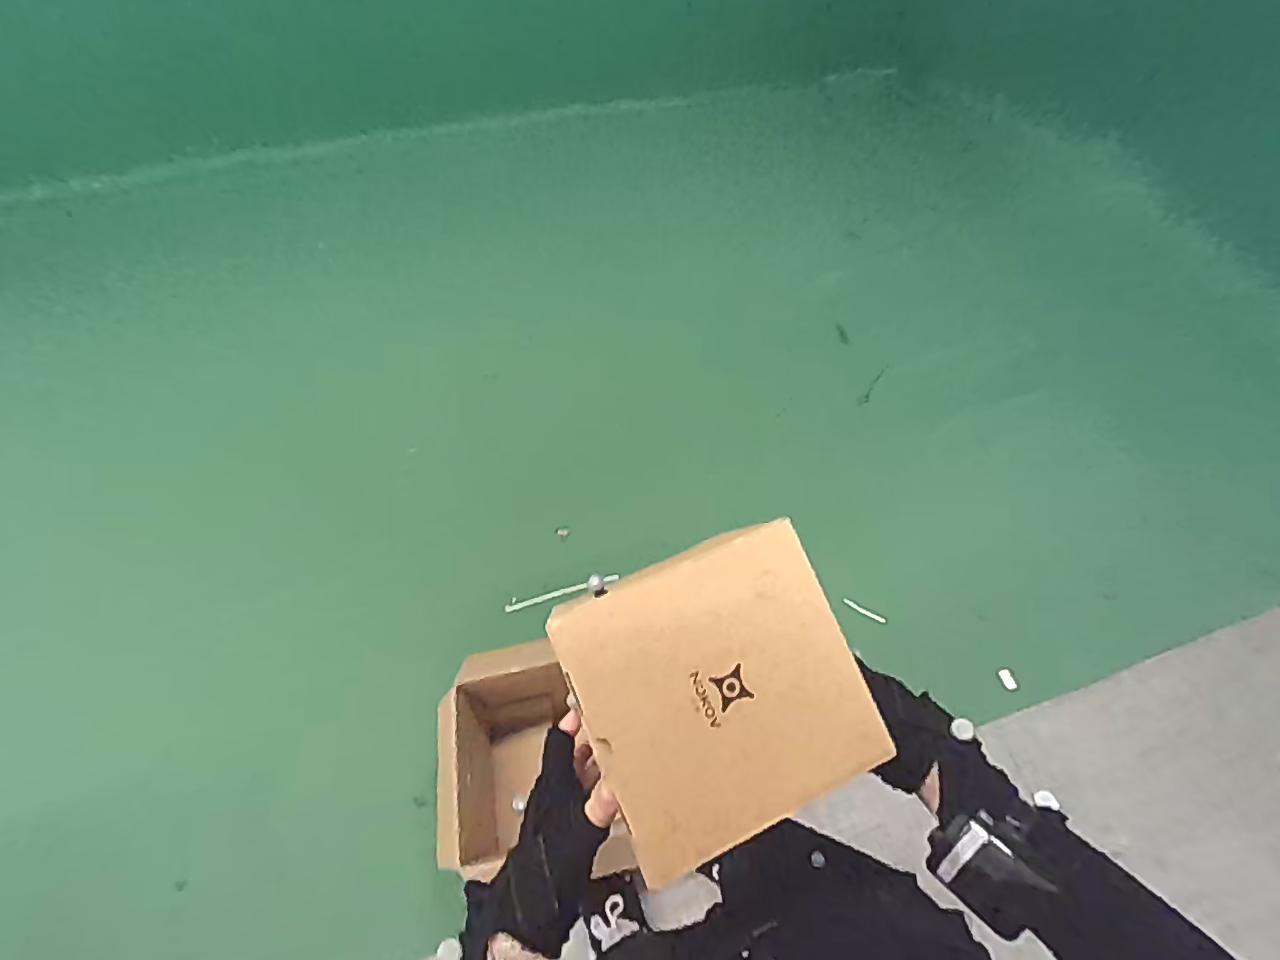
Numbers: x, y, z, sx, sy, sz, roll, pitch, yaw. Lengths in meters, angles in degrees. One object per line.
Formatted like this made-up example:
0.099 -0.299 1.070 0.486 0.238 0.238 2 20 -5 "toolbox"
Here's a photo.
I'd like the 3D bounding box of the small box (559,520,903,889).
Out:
0.047 0.143 0.411 0.179 0.176 0.168 -23 83 -11 "small box"
